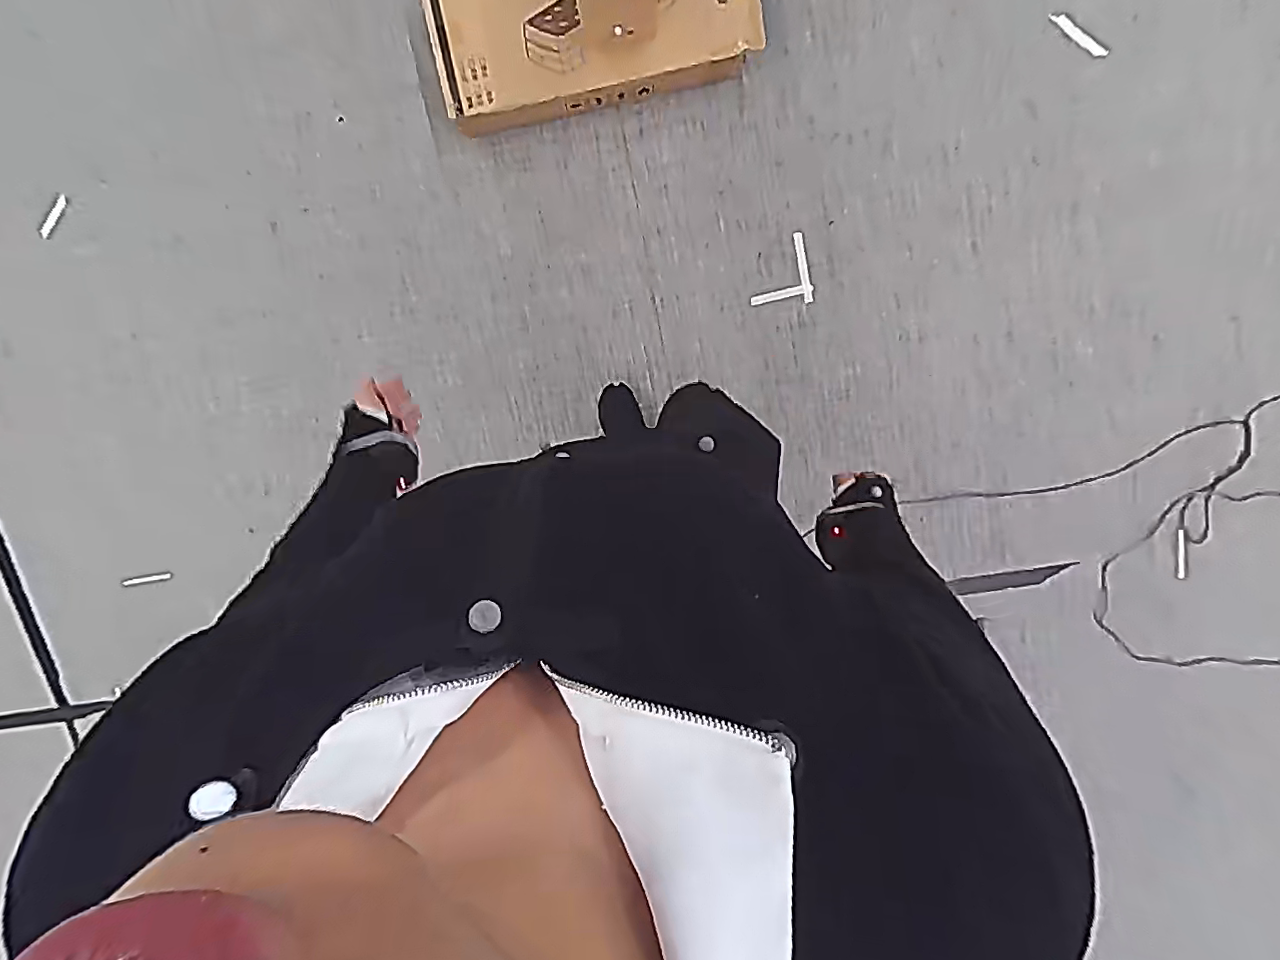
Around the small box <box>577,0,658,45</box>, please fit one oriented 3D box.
[{"bbox_3d":[-0.053,-1.057,1.118,0.168,0.176,0.179,-6,100,4],"label":"small box"}]
